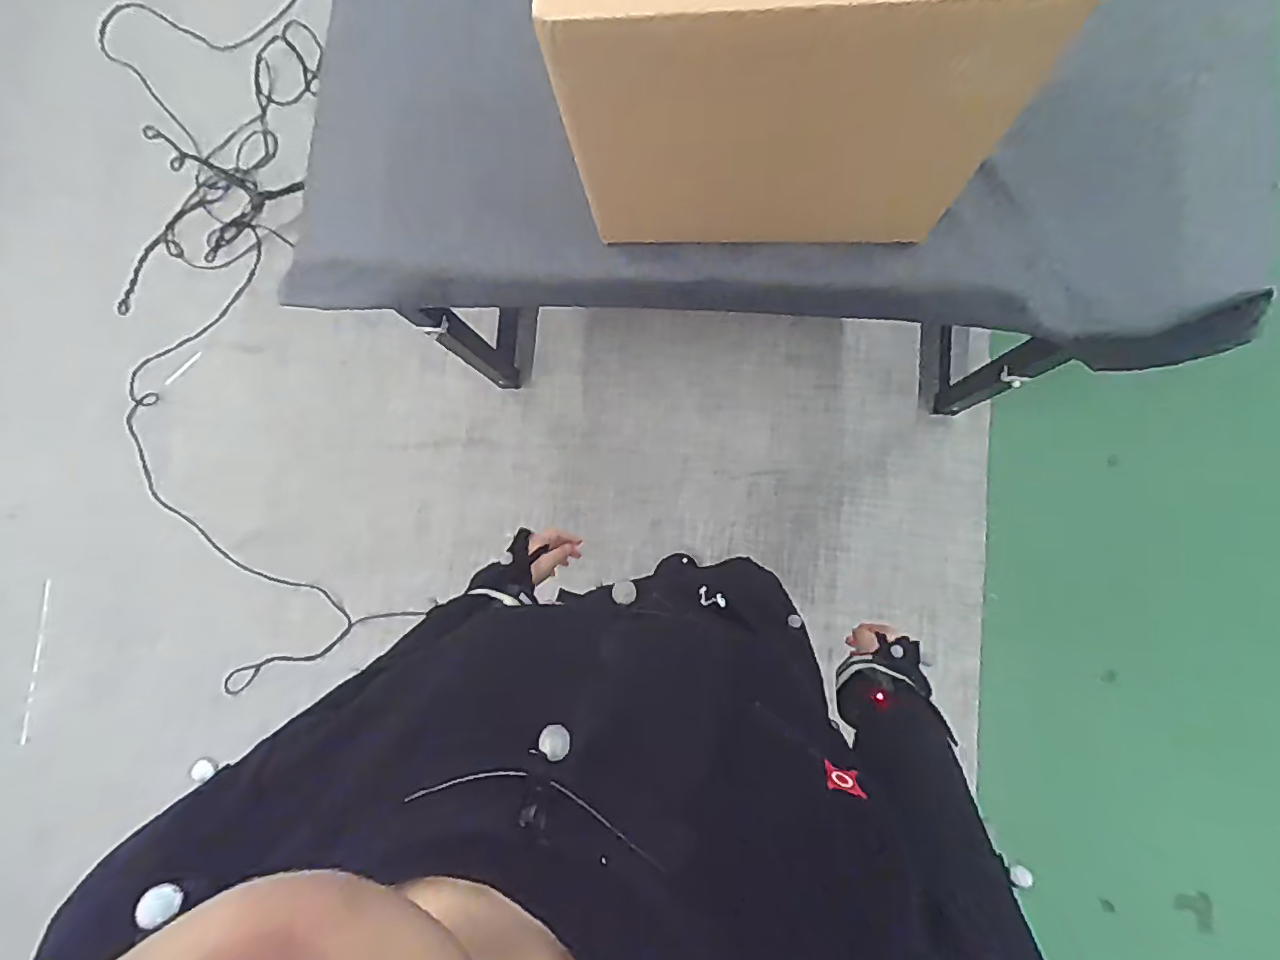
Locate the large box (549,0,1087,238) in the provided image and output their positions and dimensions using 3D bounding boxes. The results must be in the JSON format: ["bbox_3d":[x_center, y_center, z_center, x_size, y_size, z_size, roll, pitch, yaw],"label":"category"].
[{"bbox_3d":[0.140,-0.477,0.558,0.408,0.320,0.320,2,84,5],"label":"large box"}]
